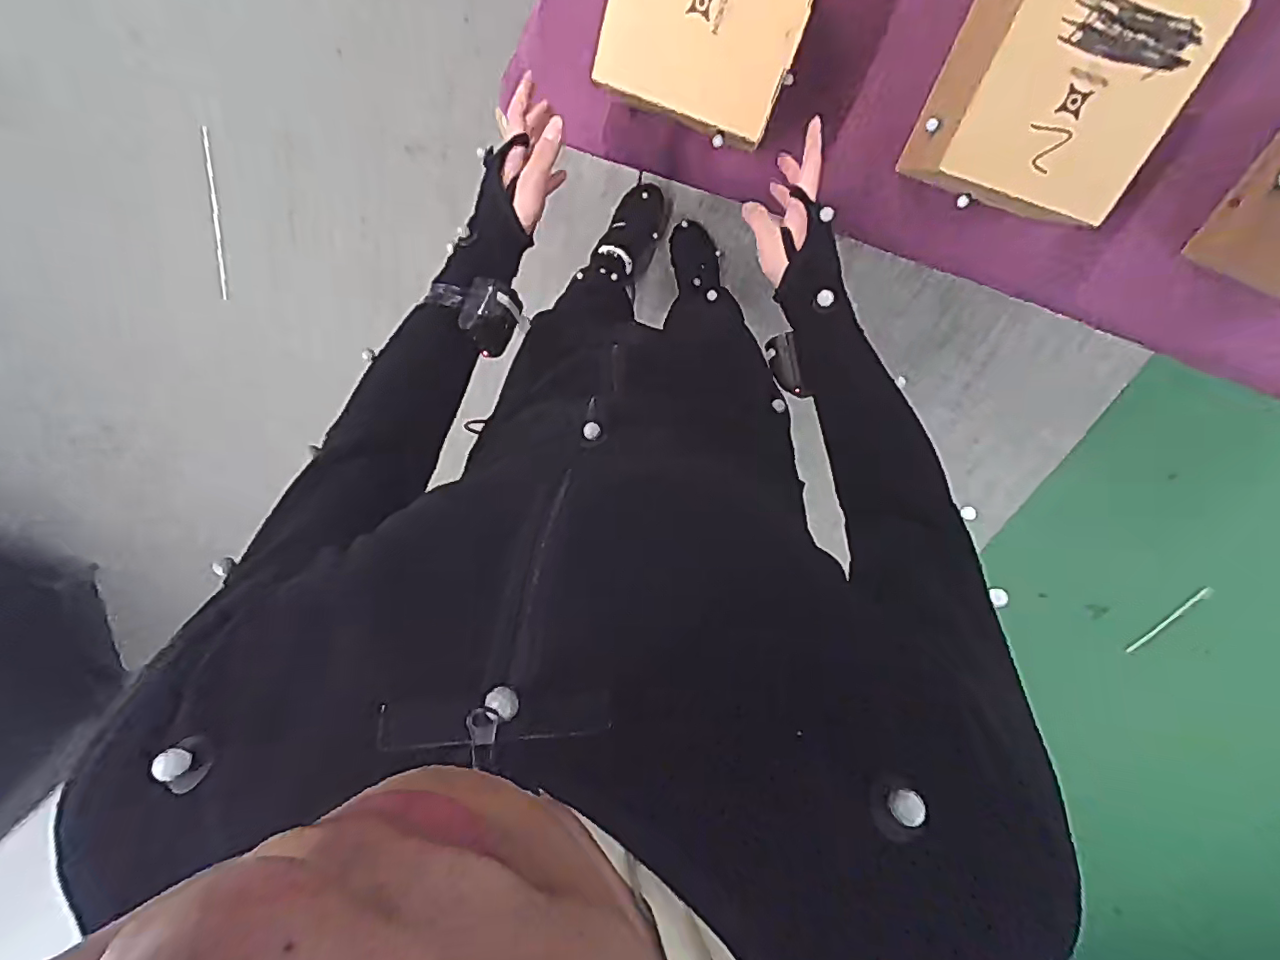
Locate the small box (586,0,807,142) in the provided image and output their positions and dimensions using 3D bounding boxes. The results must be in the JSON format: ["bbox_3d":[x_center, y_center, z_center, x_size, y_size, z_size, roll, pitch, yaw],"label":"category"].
[{"bbox_3d":[0.065,-0.455,0.538,0.179,0.176,0.168,19,120,-2],"label":"small box"}]

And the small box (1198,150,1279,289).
[{"bbox_3d":[0.732,-0.263,0.525,0.179,0.176,0.168,21,121,-1],"label":"small box"}]
